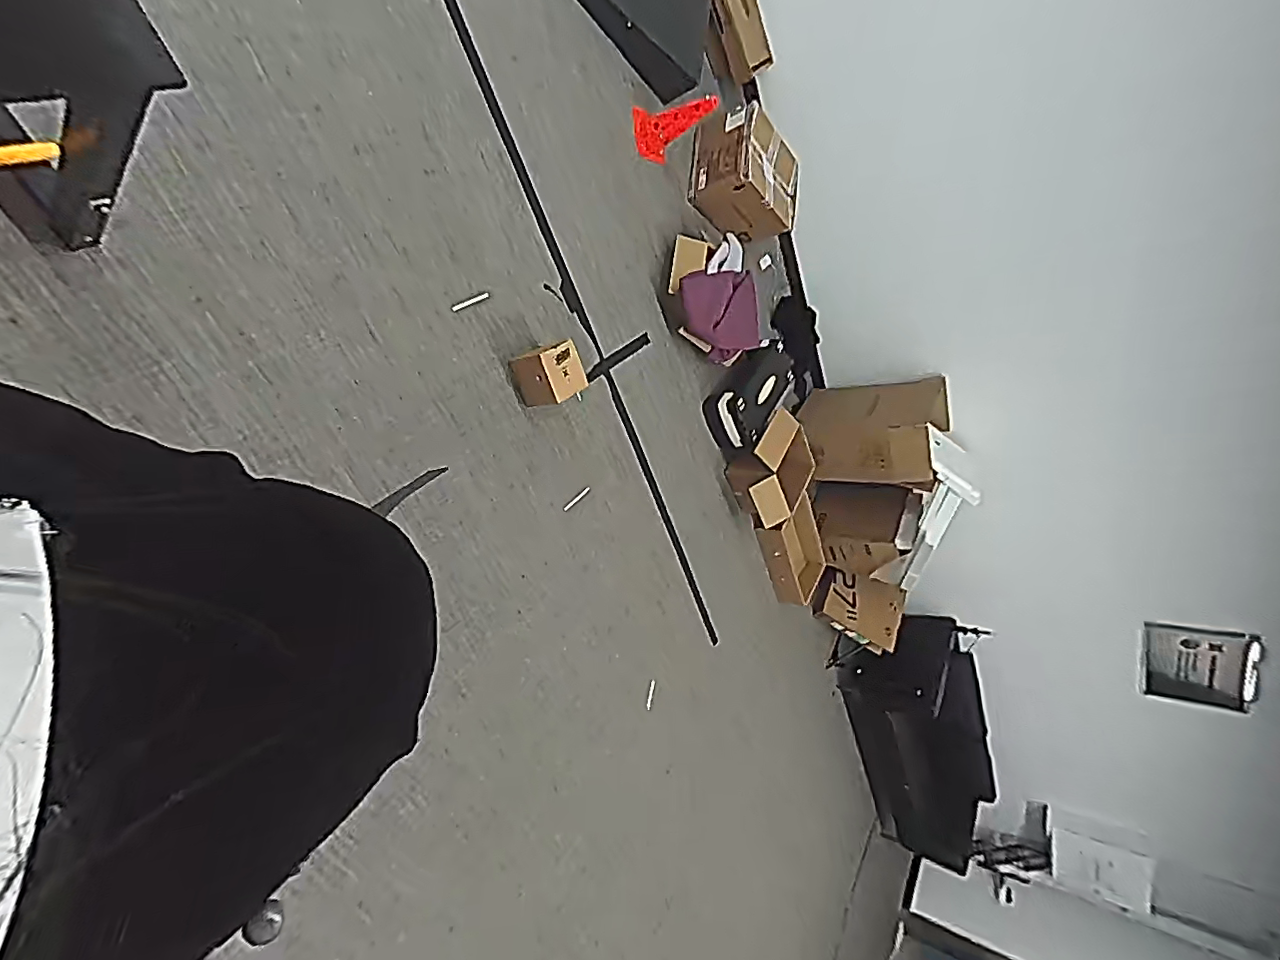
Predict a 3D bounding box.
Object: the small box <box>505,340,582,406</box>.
[{"bbox_3d":[-0.338,-0.369,1.881,0.168,0.176,0.179,-40,121,-42],"label":"small box"}]
